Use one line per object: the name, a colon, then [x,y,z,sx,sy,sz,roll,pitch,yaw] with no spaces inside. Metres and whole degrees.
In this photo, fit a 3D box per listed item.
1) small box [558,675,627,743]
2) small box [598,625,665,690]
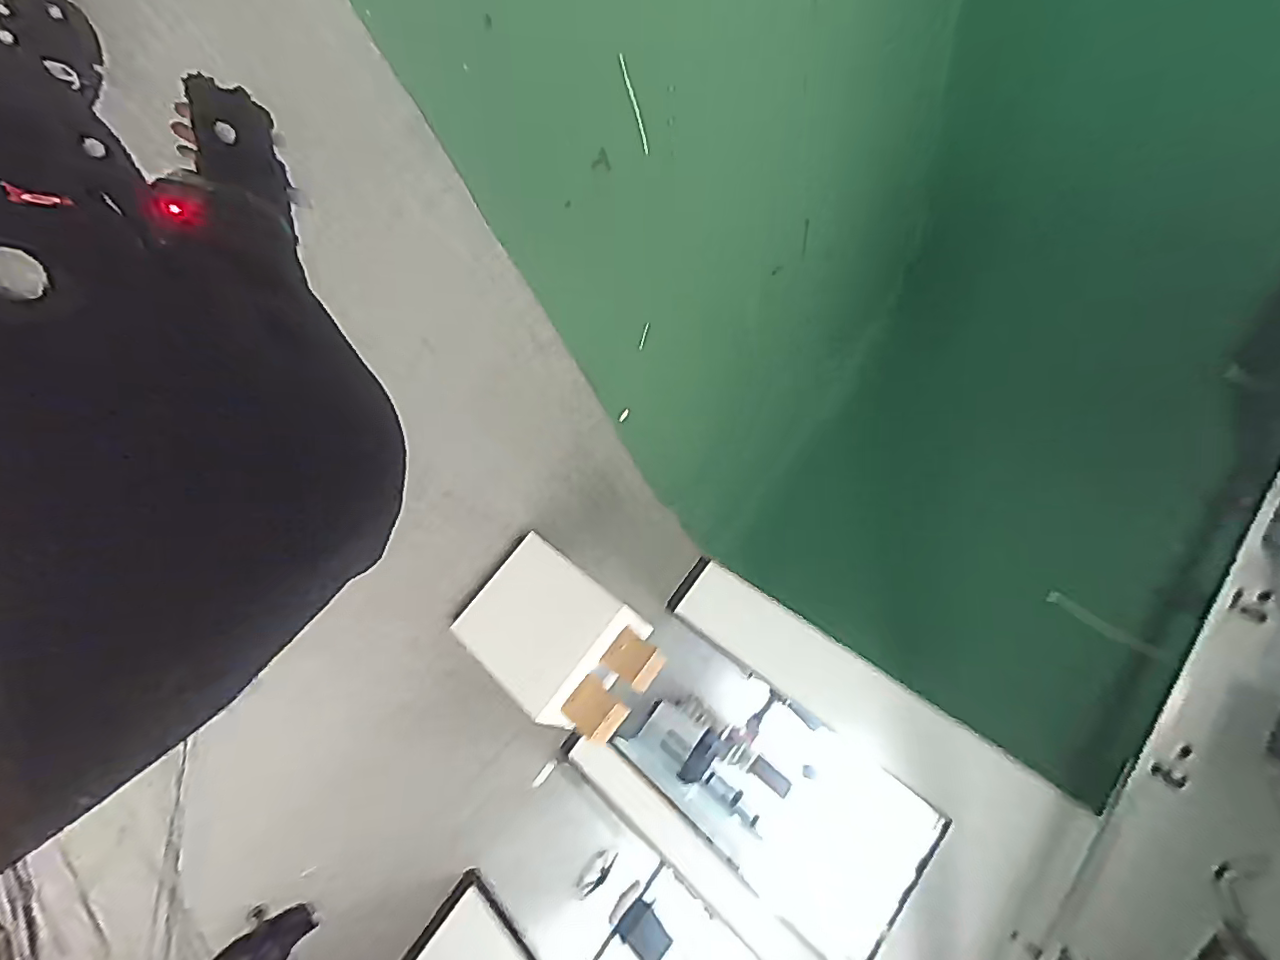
small box: [-0.182,0.870,2.063,0.168,0.176,0.179,-50,149,-15]
small box: [-0.035,0.694,2.123,0.168,0.176,0.179,-53,148,-11]
